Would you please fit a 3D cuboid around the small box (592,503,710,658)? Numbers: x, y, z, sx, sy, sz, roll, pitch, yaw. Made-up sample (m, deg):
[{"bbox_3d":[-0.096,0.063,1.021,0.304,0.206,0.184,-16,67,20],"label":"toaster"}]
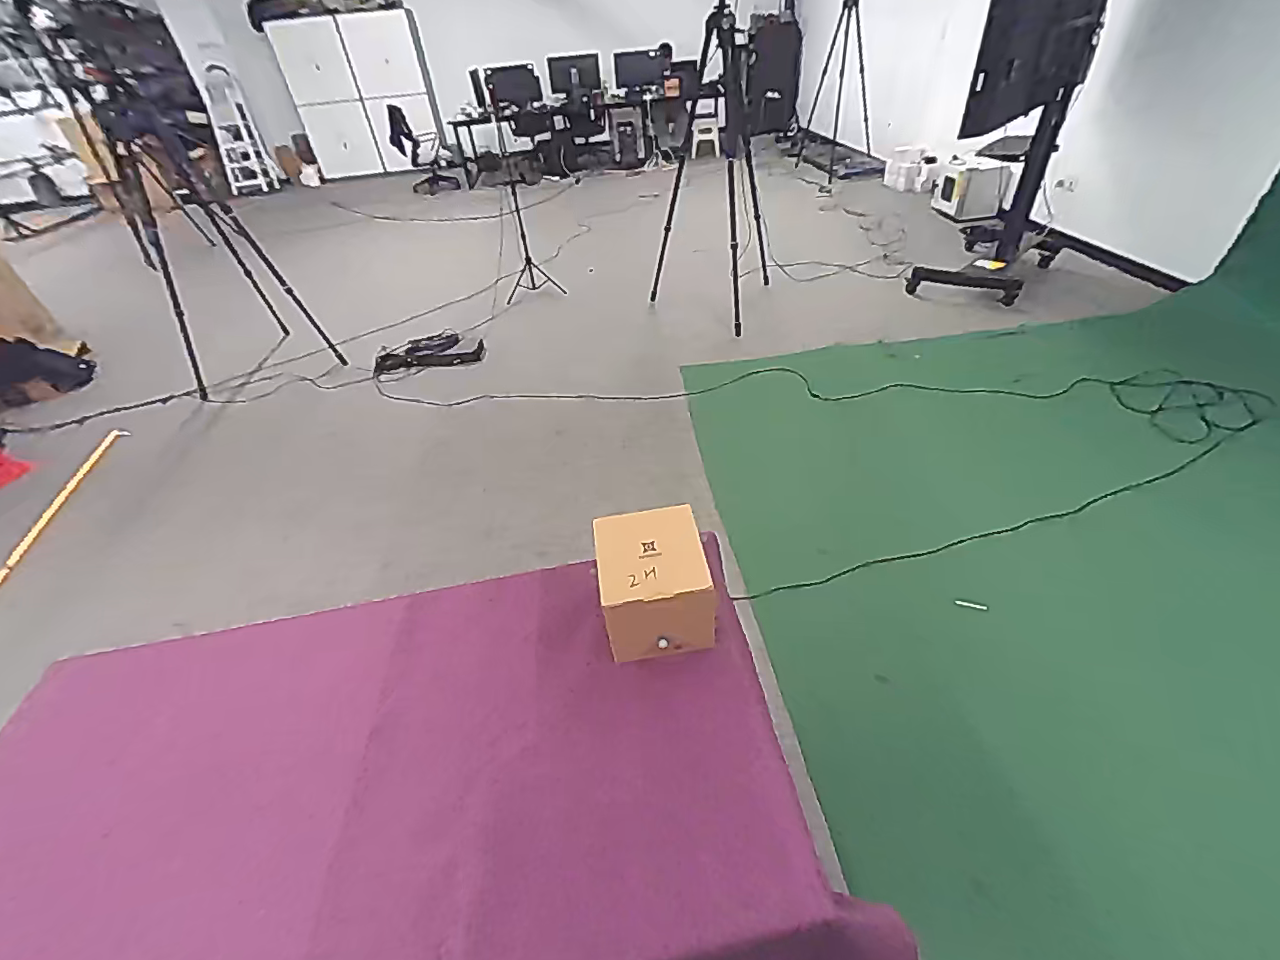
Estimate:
[{"bbox_3d":[0.017,0.165,0.892,0.168,0.176,0.179,-9,44,-2],"label":"small box"}]
